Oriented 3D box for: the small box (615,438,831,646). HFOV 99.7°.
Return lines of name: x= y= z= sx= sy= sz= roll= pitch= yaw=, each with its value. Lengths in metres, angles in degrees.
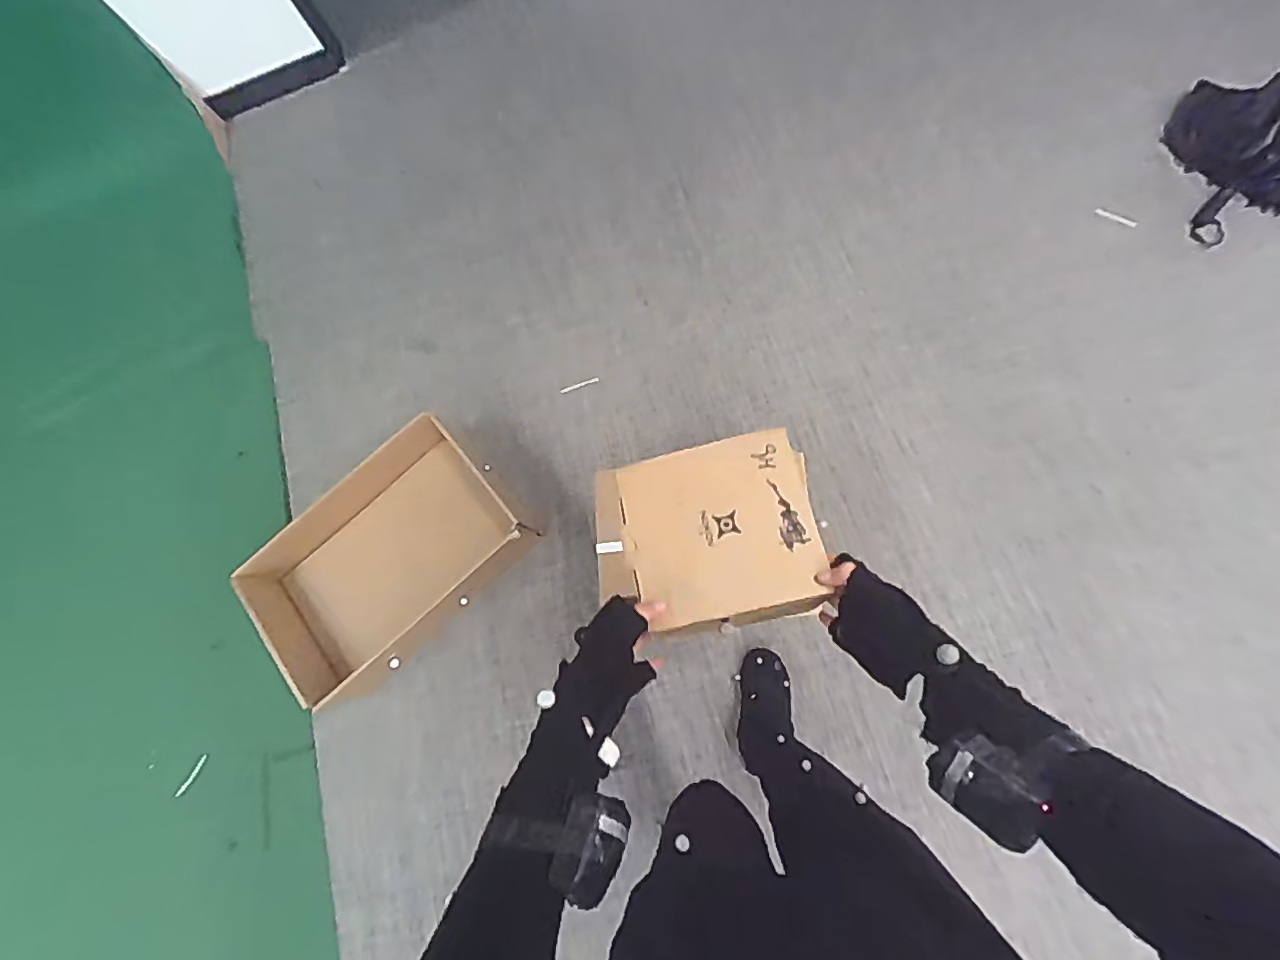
small box: x=0.088 y=0.080 z=0.586 sx=0.179 sy=0.176 sz=0.168 roll=-15 pitch=69 yaw=7
